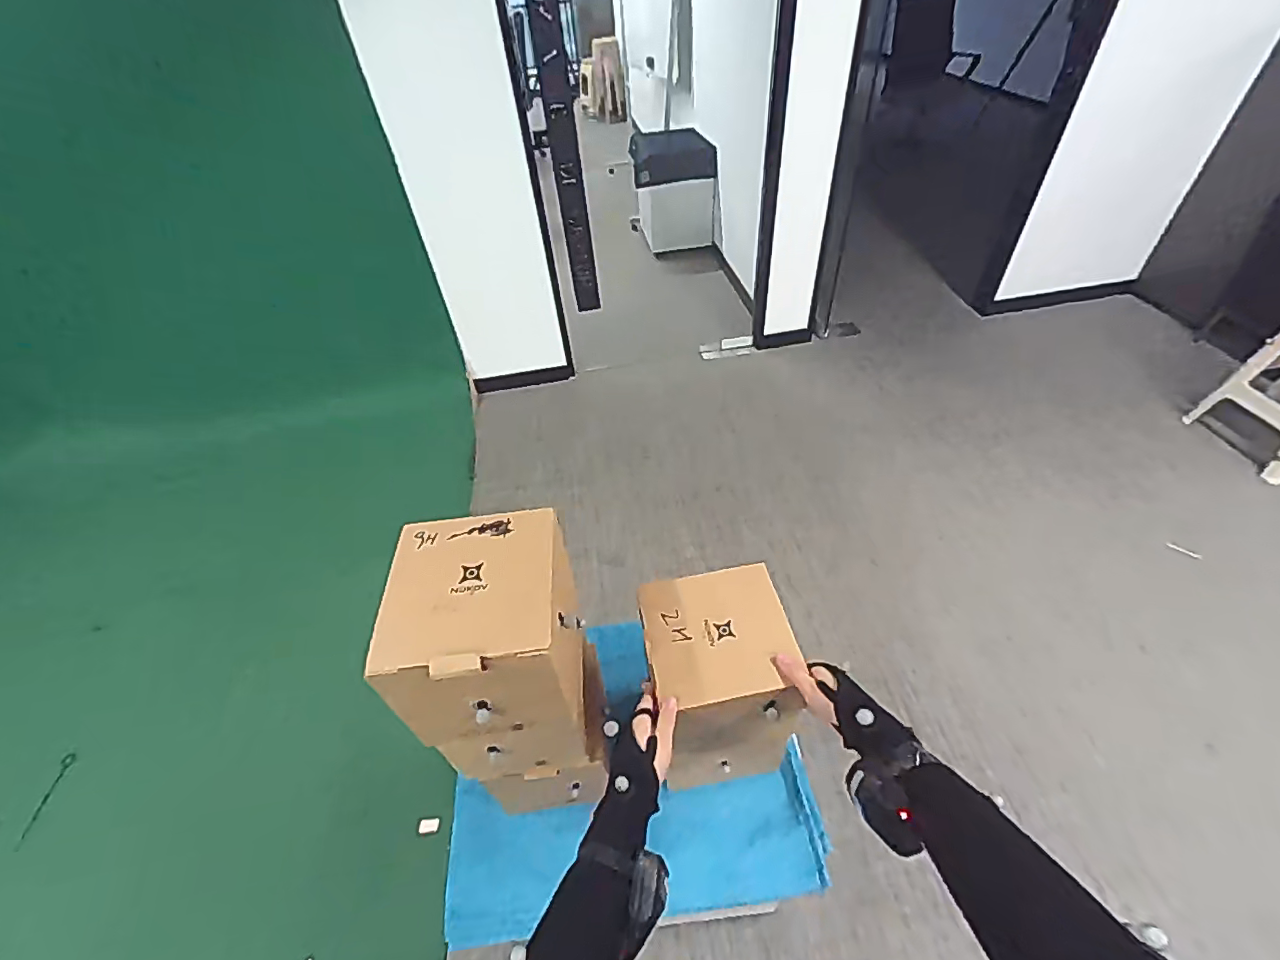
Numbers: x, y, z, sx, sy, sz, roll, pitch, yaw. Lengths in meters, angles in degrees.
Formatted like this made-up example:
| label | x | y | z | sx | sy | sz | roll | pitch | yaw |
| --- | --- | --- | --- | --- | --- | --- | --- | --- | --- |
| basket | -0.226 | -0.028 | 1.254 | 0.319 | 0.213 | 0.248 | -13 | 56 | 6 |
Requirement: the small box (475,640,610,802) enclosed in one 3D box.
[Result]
| label | x | y | z | sx | sy | sz | roll | pitch | yaw |
| --- | --- | --- | --- | --- | --- | --- | --- | --- | --- |
| small box | -0.138 | 0.369 | 0.820 | 0.168 | 0.176 | 0.179 | -6 | 45 | -2 |

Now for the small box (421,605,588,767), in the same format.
| label | x | y | z | sx | sy | sz | roll | pitch | yaw |
| --- | --- | --- | --- | --- | --- | --- | --- | --- | --- |
| small box | -0.160 | 0.256 | 0.706 | 0.168 | 0.176 | 0.179 | -6 | 44 | -1 |

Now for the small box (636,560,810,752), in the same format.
| label | x | y | z | sx | sy | sz | roll | pitch | yaw |
| --- | --- | --- | --- | --- | --- | --- | --- | --- | --- |
| small box | 0.097 | 0.229 | 0.700 | 0.179 | 0.176 | 0.168 | -10 | 46 | -3 |

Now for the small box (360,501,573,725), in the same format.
| label | x | y | z | sx | sy | sz | roll | pitch | yaw |
| --- | --- | --- | --- | --- | --- | --- | --- | --- | --- |
| small box | -0.164 | 0.148 | 0.583 | 0.168 | 0.176 | 0.179 | -5 | 45 | -1 |
